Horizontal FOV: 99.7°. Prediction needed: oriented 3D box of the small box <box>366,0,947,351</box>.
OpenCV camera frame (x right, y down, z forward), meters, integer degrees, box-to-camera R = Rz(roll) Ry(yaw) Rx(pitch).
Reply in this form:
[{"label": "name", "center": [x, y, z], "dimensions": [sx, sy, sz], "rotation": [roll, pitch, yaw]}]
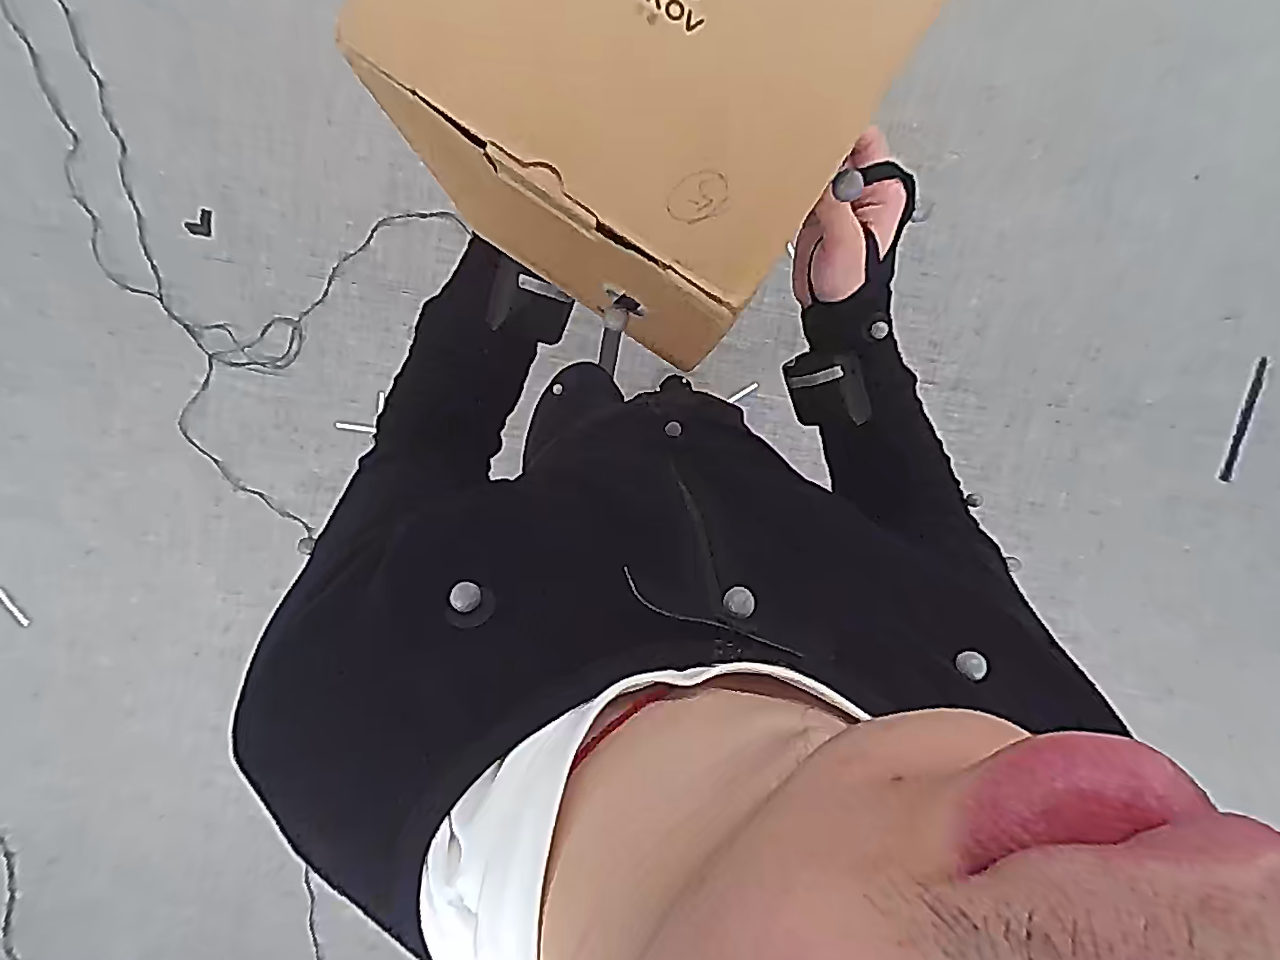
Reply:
[{"label": "small box", "center": [0.014, -0.185, 0.268], "dimensions": [0.168, 0.176, 0.179], "rotation": [33, 92, -5]}]
